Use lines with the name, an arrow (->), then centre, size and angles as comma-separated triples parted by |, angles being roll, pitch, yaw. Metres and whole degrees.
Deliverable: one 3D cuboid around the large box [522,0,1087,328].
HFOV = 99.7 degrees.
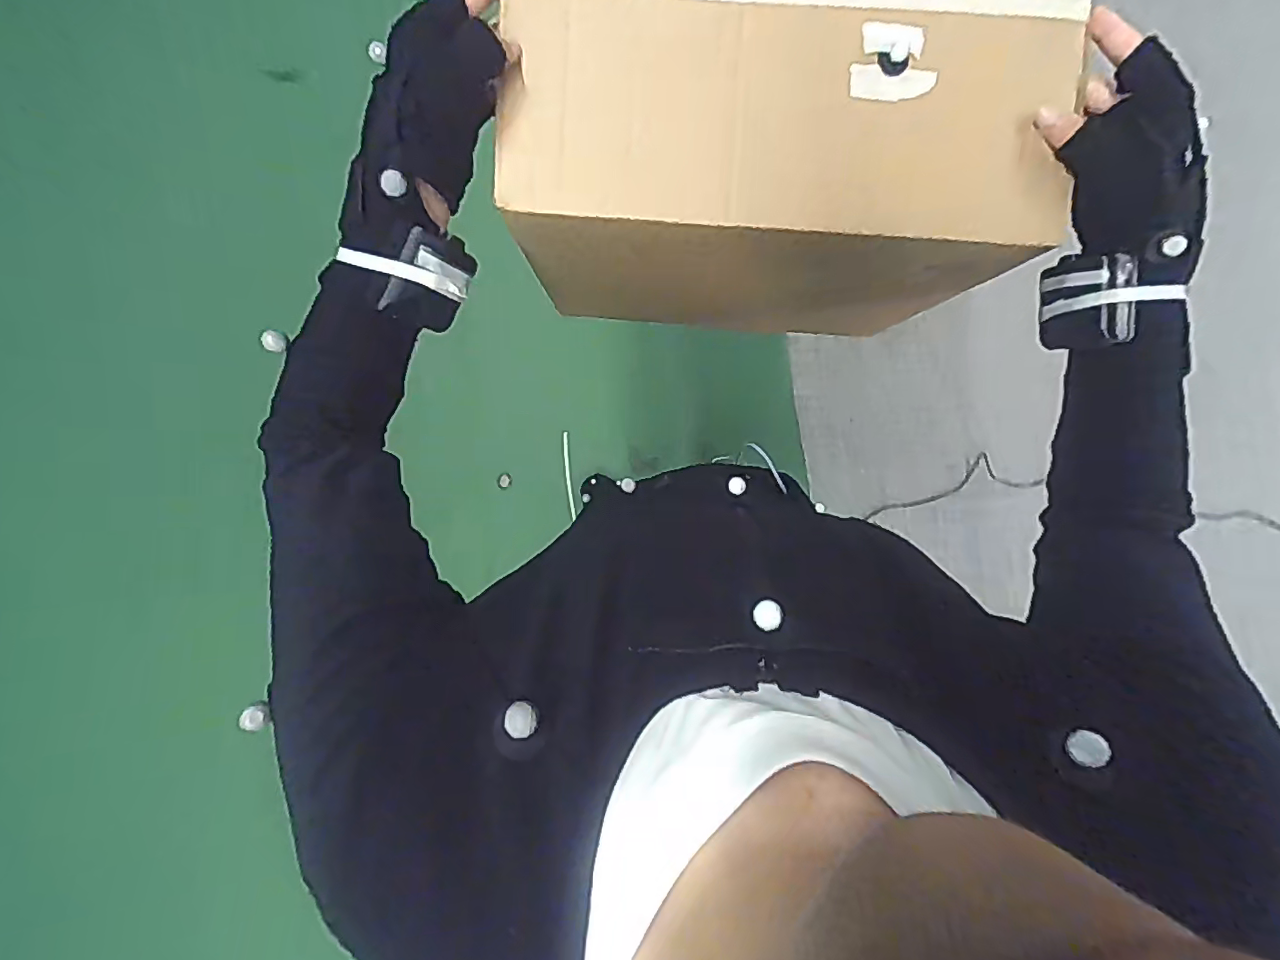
large box -> 0.114, -0.347, 0.530 | 0.408, 0.320, 0.320 | 4, 94, -2
